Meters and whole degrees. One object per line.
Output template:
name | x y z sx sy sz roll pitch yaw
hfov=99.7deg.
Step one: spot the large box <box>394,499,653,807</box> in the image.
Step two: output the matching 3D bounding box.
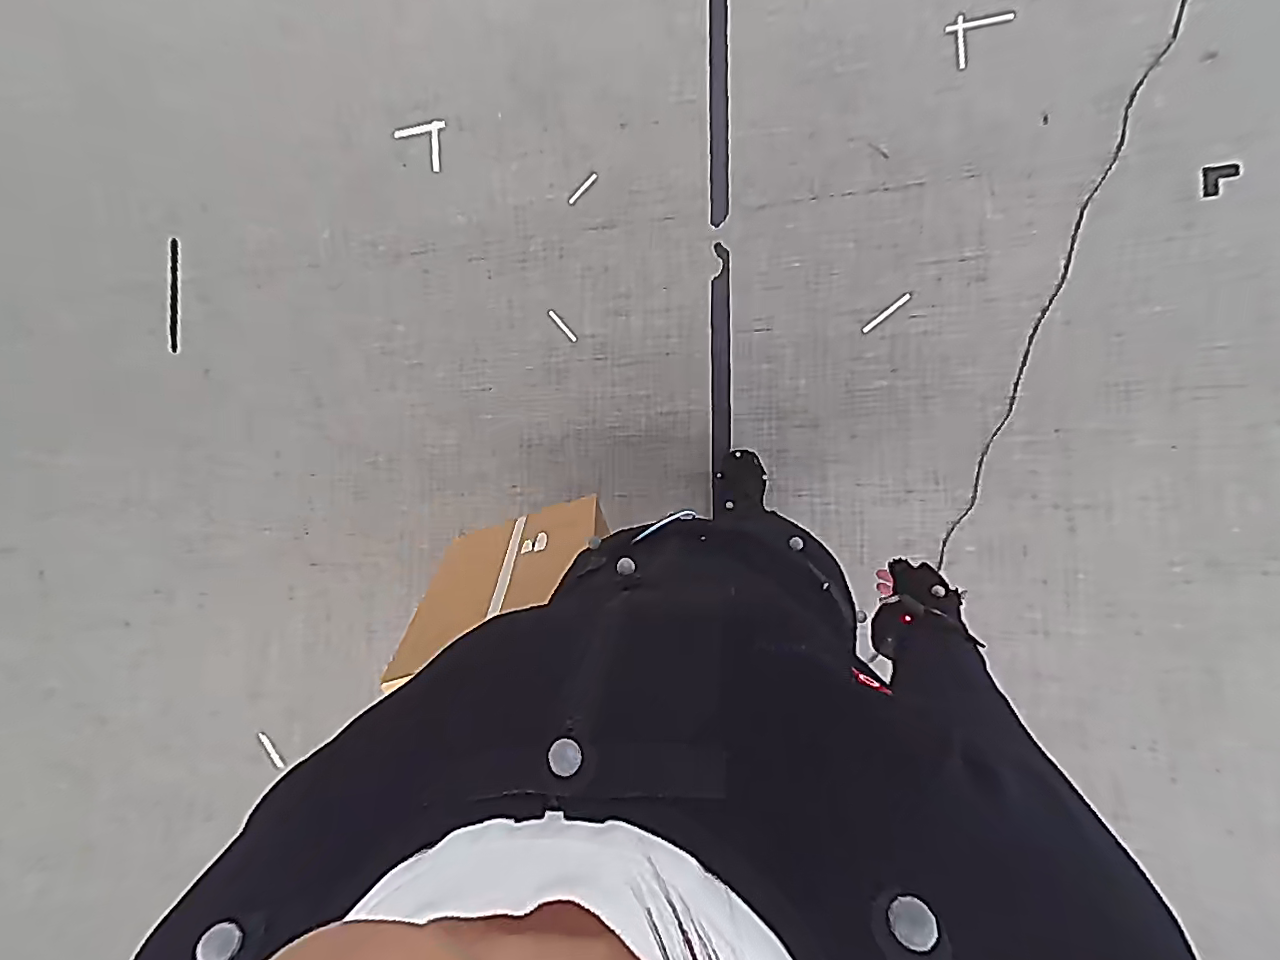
large box | -0.177 0.291 0.997 0.320 0.408 0.320 -16 113 4
